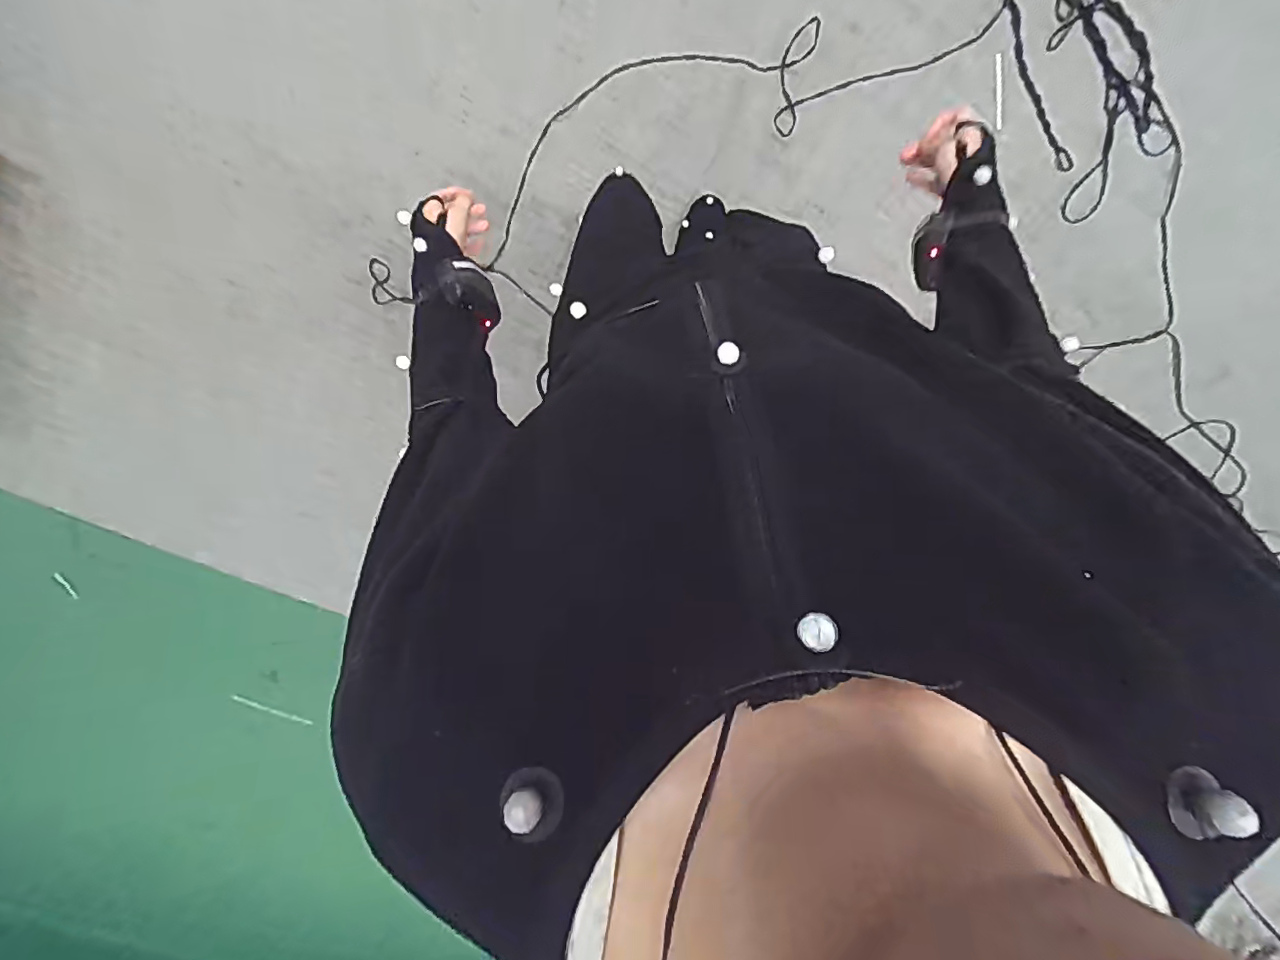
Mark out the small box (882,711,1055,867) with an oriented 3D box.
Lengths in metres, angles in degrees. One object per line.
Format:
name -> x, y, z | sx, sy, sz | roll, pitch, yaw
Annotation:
small box -> 0.582, 0.556, 0.989 | 0.179, 0.176, 0.168 | 25, 116, -12
